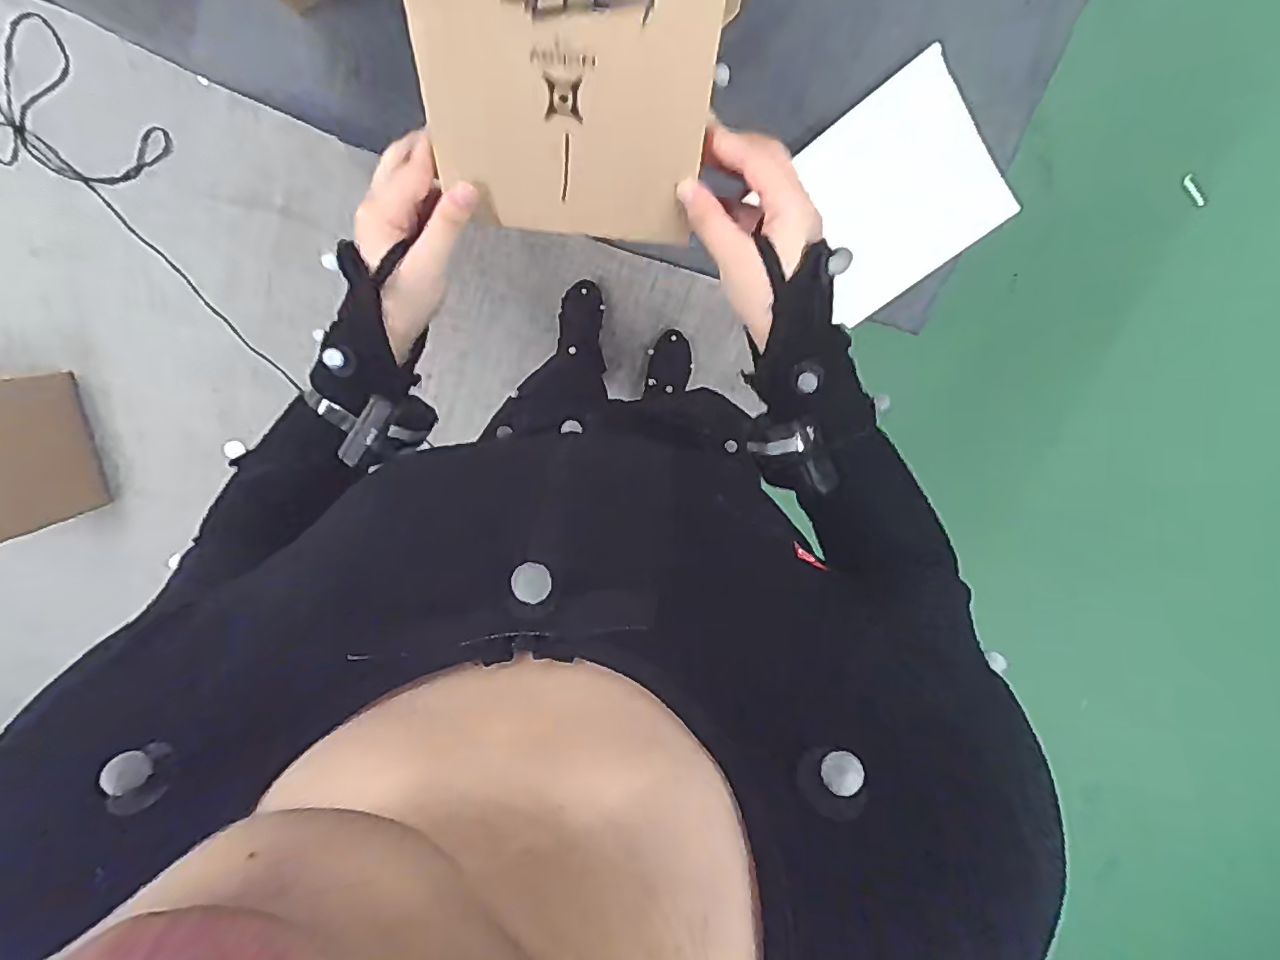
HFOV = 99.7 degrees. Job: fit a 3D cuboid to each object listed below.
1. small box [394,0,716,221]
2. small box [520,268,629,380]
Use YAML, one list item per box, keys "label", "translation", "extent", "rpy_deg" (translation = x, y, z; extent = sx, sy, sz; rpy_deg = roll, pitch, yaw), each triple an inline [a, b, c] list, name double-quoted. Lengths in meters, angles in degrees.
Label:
- label: "small box"
  translation: [-0.043, -0.295, 0.338]
  extent: [0.168, 0.176, 0.179]
  rpy_deg: [5, 141, -3]
- label: "small box"
  translation: [-0.147, -0.371, 1.290]
  extent: [0.179, 0.168, 0.176]
  rpy_deg: [-40, 133, -10]
